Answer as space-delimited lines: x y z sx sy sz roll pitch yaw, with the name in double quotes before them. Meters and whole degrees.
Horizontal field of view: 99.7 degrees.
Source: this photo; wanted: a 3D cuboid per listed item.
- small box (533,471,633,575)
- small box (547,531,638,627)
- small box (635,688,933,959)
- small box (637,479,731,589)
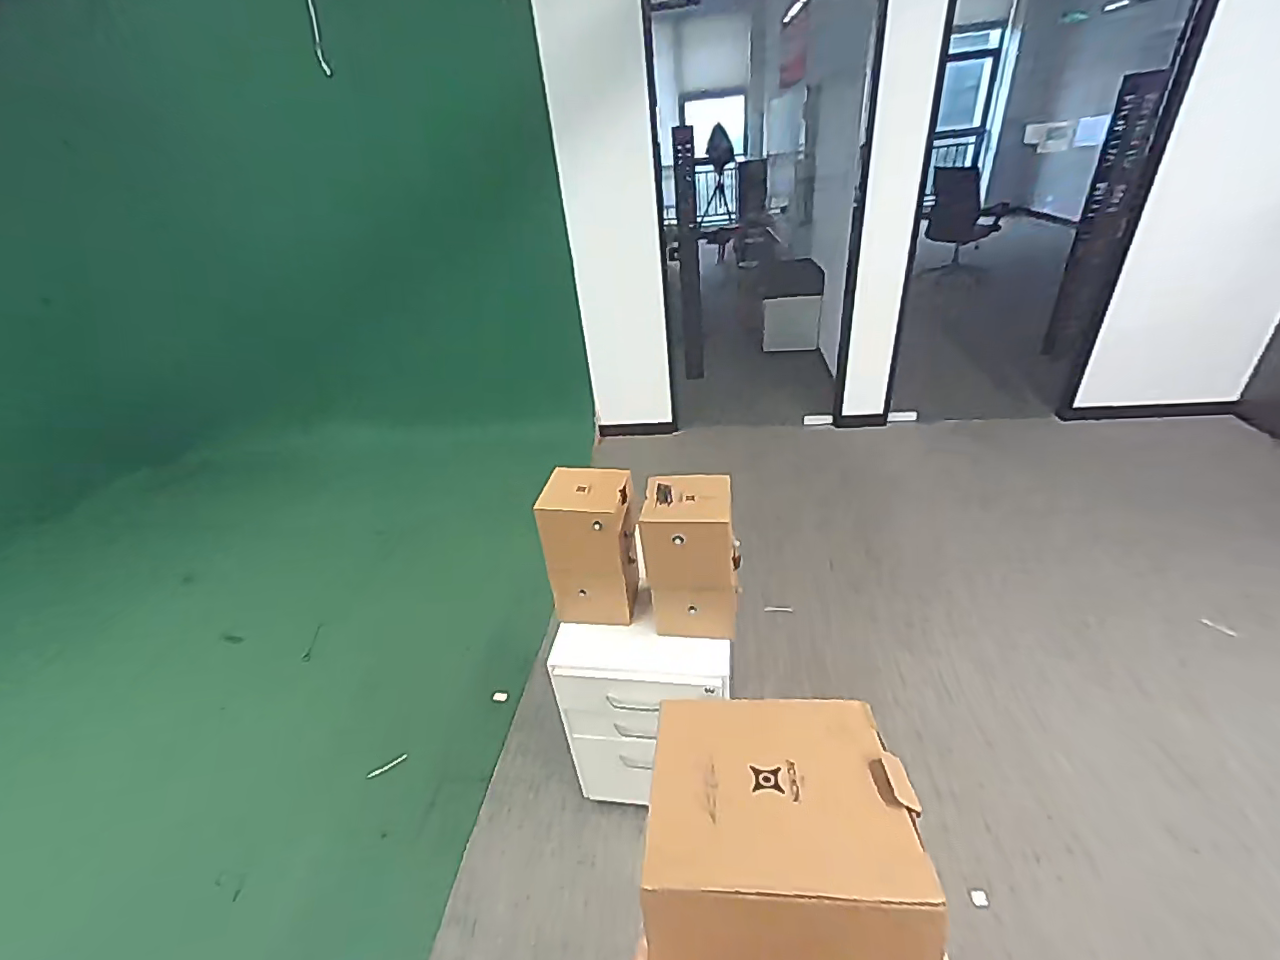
"small box" -0.118 0.094 1.200 0.179 0.176 0.168 3 32 9
"small box" -0.106 0.232 1.289 0.179 0.176 0.168 1 32 8
"small box" 0.098 0.285 0.417 0.179 0.176 0.168 -4 17 8
"small box" 0.099 0.112 1.133 0.179 0.176 0.168 0 32 10
